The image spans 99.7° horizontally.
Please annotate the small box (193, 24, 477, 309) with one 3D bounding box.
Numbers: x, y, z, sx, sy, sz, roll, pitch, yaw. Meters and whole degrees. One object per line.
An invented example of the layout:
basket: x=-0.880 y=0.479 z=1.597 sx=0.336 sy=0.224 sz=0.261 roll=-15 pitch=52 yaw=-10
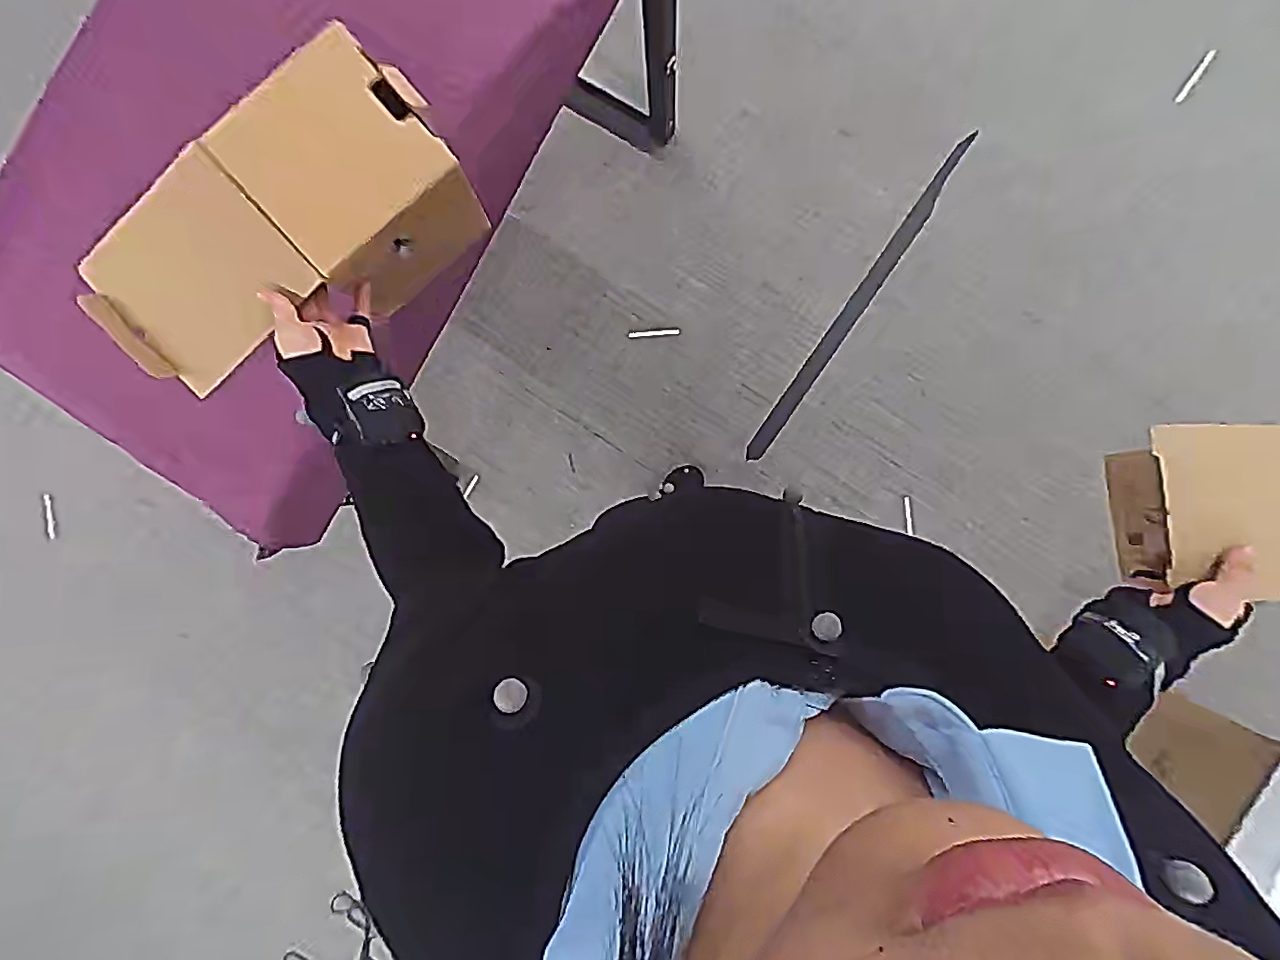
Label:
small box: x=-0.308 y=-0.316 z=0.591 sx=0.179 sy=0.176 sz=0.168 roll=-43 pitch=96 yaw=1
